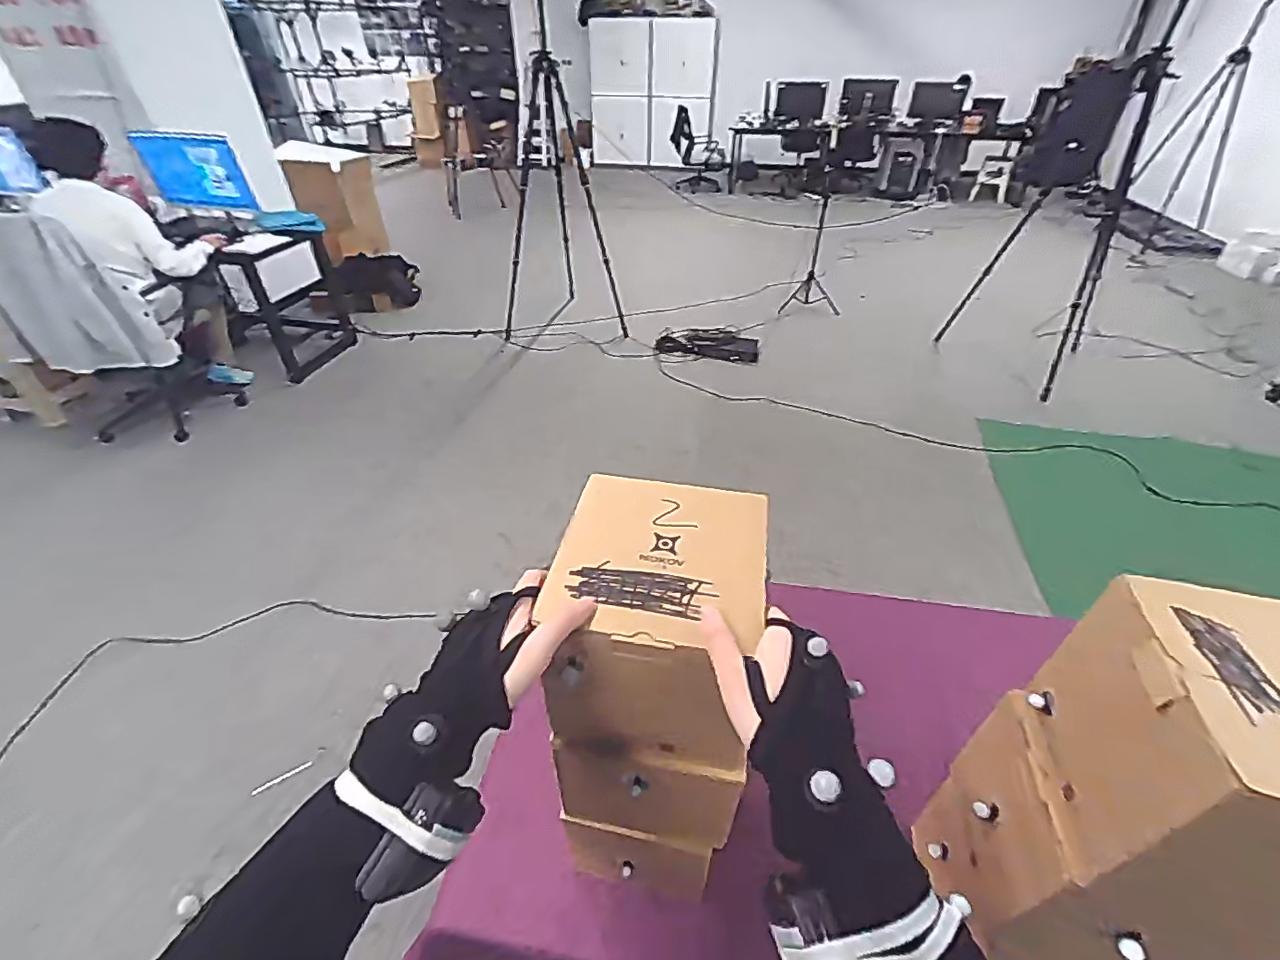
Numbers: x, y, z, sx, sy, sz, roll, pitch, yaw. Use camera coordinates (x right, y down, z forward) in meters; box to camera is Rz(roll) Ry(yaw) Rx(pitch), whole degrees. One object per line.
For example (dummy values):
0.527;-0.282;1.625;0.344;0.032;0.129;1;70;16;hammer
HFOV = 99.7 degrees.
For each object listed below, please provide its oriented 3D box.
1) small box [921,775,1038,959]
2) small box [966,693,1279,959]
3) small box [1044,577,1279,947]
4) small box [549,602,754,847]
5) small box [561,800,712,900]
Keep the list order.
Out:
0.426;0.456;0.586;0.179;0.176;0.168;7;39;9;small box
0.418;0.326;0.485;0.179;0.176;0.168;9;40;12;small box
0.426;0.199;0.380;0.179;0.176;0.168;11;40;11;small box
0.019;0.258;0.574;0.179;0.176;0.168;8;40;9;small box
0.014;0.385;0.676;0.168;0.176;0.179;8;39;10;small box
